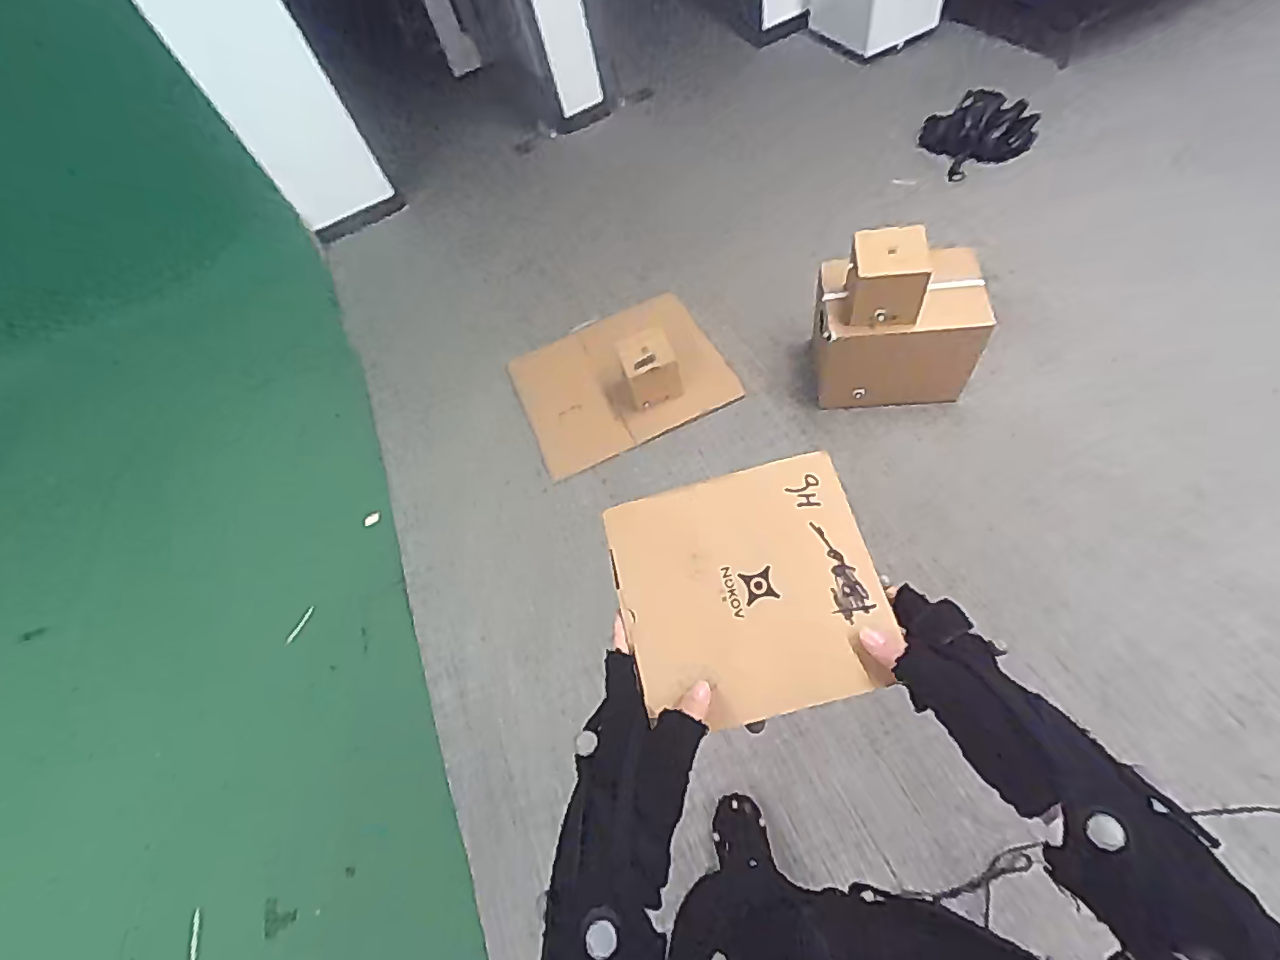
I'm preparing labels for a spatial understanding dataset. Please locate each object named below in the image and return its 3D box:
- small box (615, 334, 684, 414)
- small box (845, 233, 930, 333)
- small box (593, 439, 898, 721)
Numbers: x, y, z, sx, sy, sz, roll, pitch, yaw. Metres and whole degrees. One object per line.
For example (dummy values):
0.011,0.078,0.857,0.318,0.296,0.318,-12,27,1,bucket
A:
0.035,-0.342,1.790,0.168,0.176,0.179,-21,54,0,small box
0.632,-0.507,1.402,0.168,0.176,0.179,-1,60,14,small box
0.077,0.095,0.456,0.179,0.176,0.168,-18,67,1,small box
